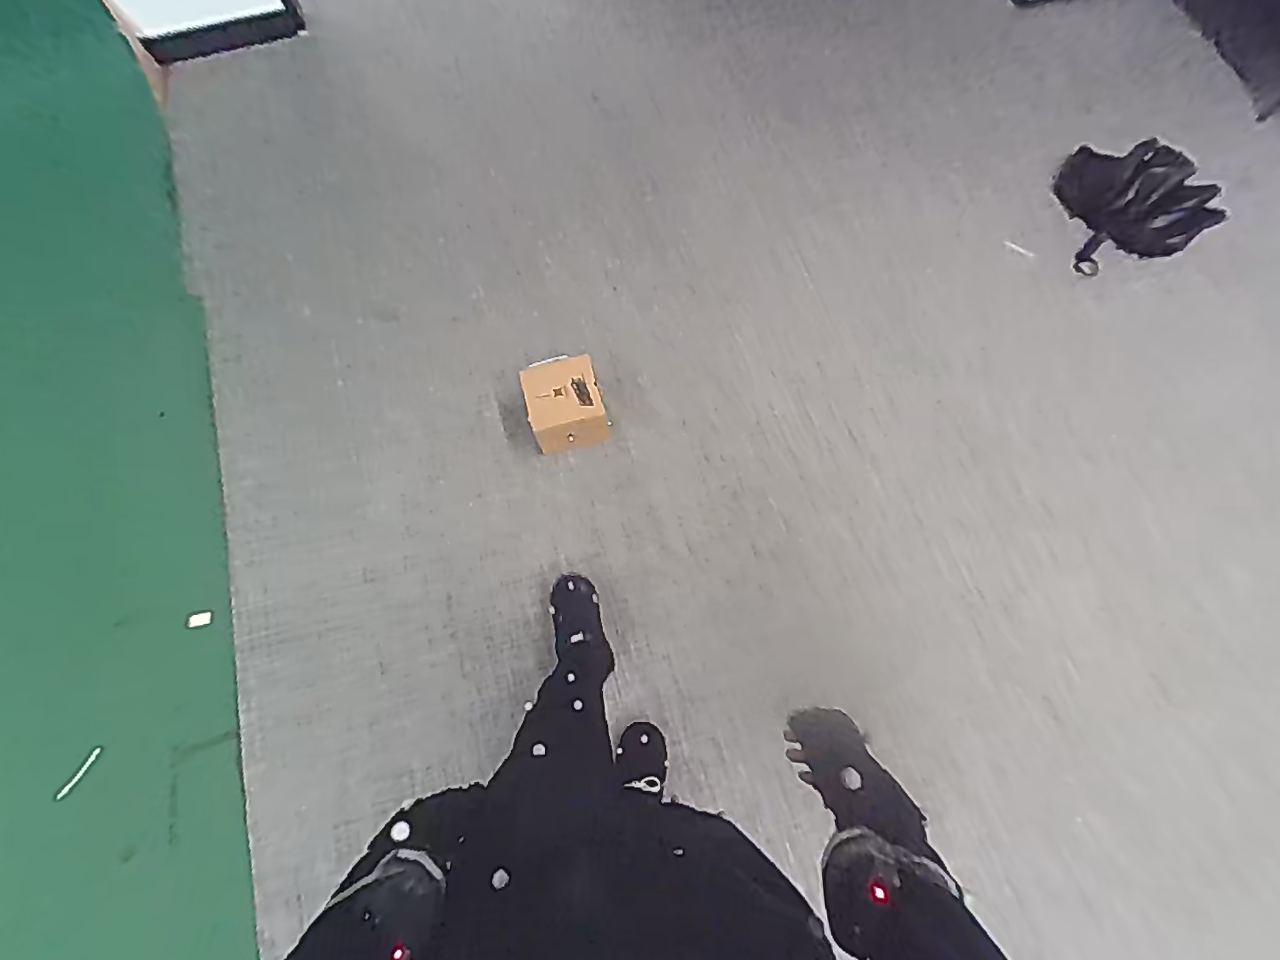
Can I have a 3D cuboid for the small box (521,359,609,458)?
[{"bbox_3d":[-0.183,-0.173,1.357,0.179,0.176,0.168,-18,75,-6],"label":"small box"}]
